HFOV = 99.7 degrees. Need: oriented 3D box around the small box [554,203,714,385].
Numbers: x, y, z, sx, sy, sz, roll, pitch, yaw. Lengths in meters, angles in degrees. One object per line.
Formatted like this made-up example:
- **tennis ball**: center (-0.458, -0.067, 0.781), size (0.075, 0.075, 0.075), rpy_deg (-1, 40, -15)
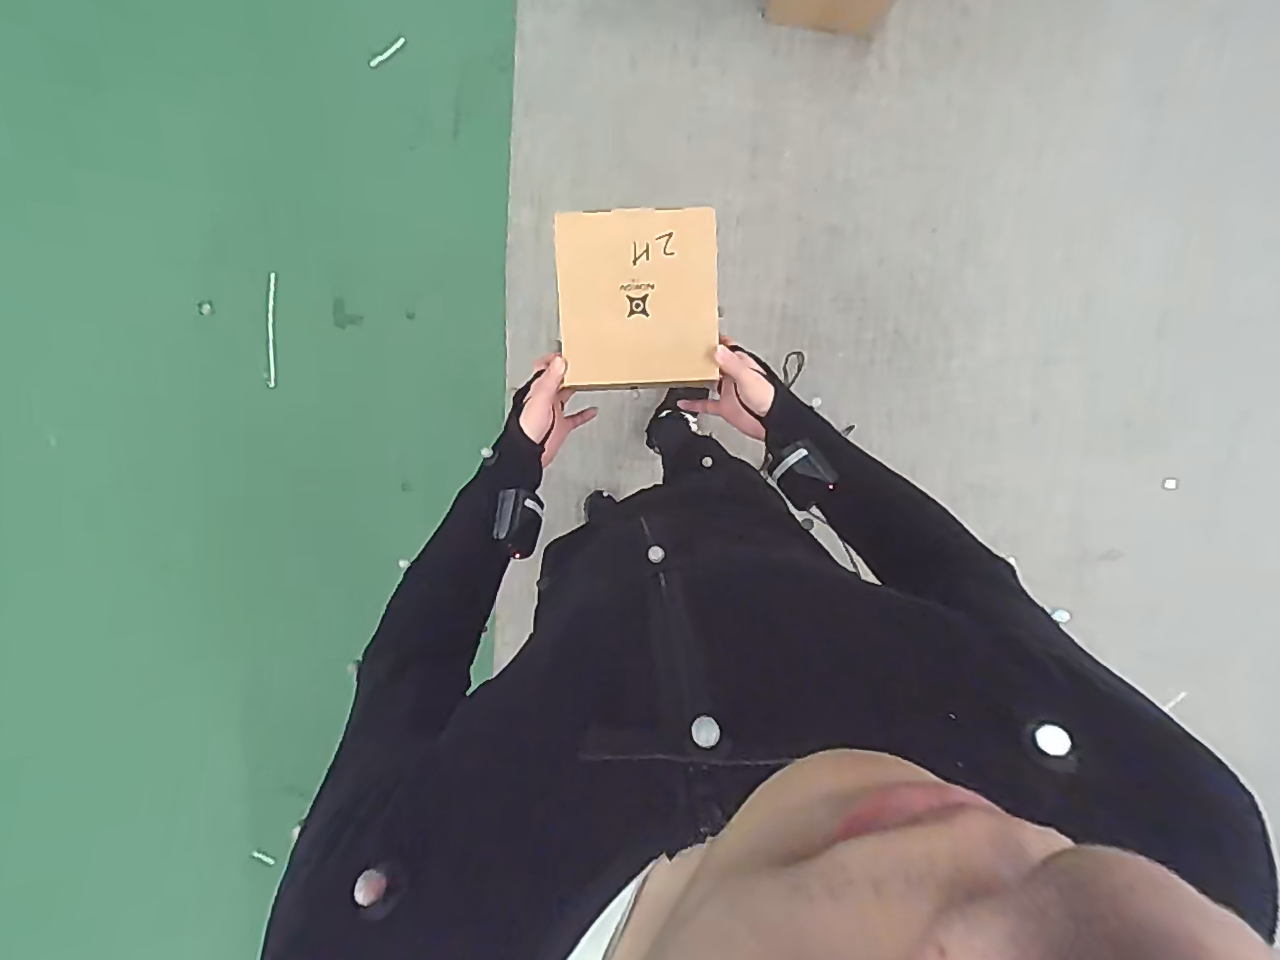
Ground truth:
- **small box**: center (-0.006, -0.203, 0.634), size (0.168, 0.176, 0.179), rpy_deg (-2, 97, -2)
